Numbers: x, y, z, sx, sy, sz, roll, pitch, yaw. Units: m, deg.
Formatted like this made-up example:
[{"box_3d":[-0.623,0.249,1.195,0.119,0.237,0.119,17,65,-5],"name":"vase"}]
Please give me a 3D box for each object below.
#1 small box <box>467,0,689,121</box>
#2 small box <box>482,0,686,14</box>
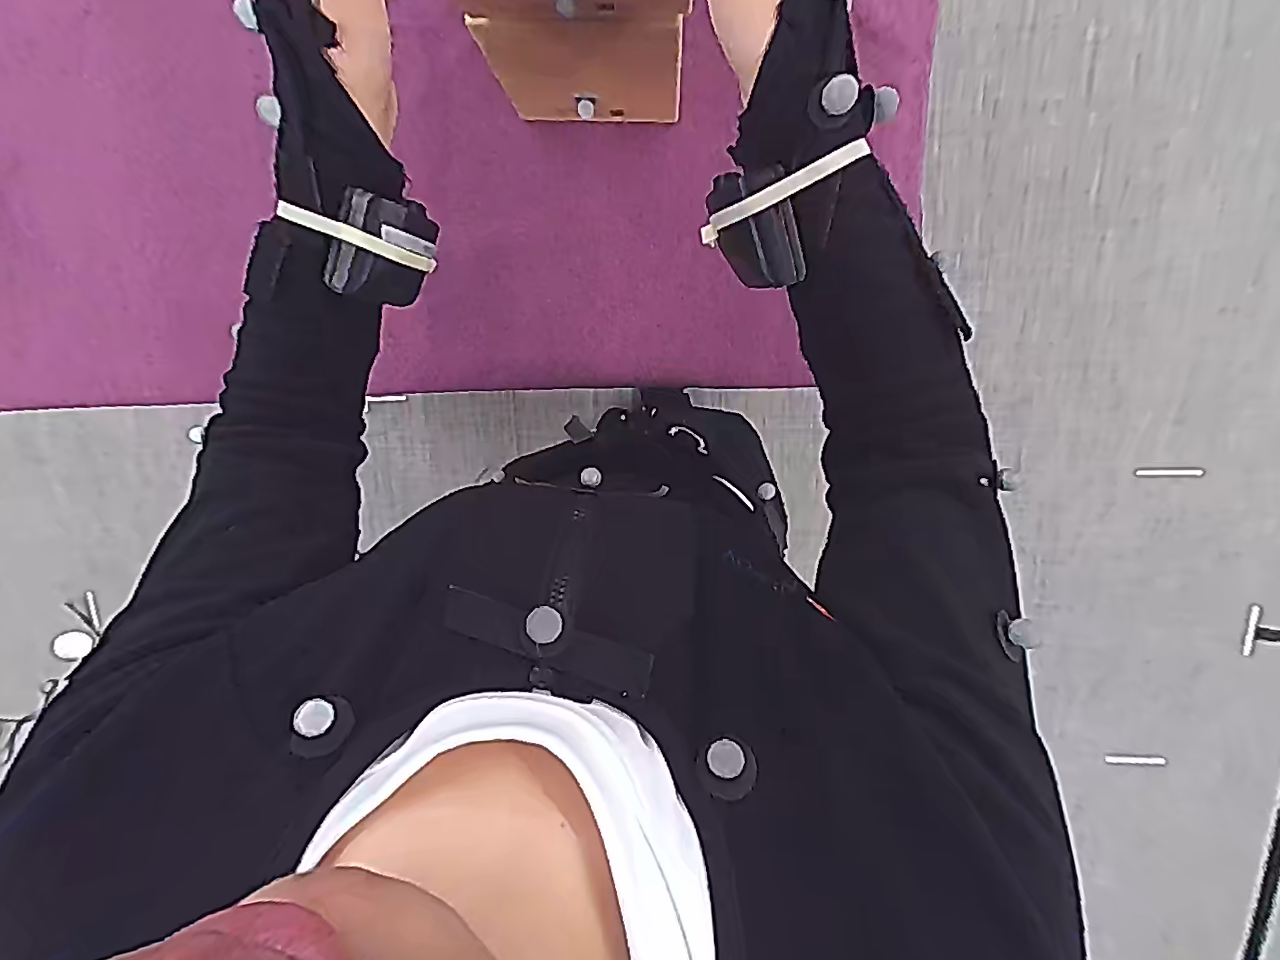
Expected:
[{"box_3d":[-0.040,-0.443,0.461,0.168,0.176,0.179,3,103,2],"name":"small box"},{"box_3d":[-0.046,-0.385,0.280,0.168,0.176,0.179,2,114,3],"name":"small box"}]
